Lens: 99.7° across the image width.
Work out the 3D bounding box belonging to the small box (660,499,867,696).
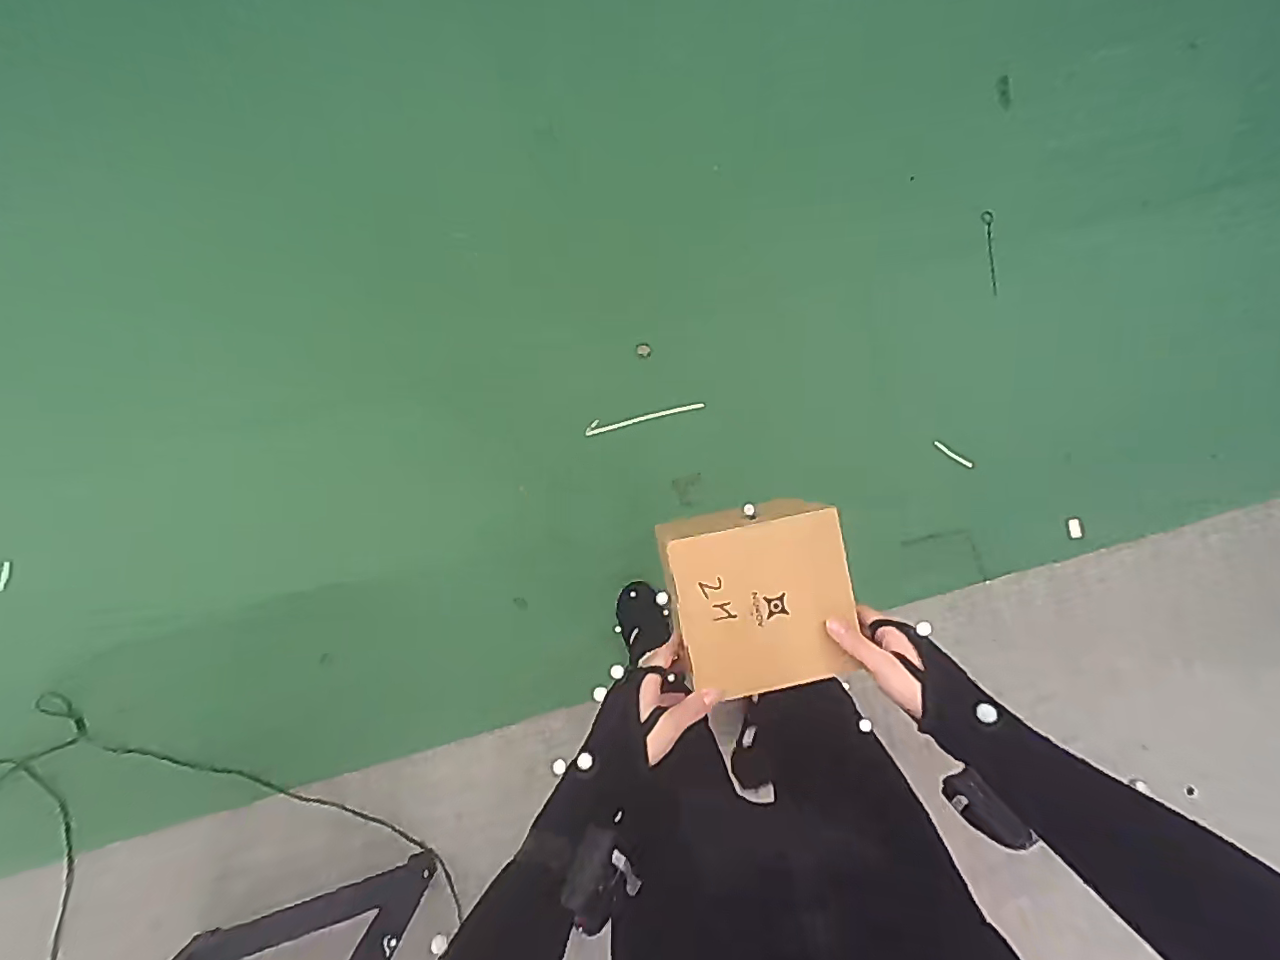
[{"bbox_3d":[0.126,0.118,0.615,0.179,0.176,0.168,-11,91,-2],"label":"small box"}]
